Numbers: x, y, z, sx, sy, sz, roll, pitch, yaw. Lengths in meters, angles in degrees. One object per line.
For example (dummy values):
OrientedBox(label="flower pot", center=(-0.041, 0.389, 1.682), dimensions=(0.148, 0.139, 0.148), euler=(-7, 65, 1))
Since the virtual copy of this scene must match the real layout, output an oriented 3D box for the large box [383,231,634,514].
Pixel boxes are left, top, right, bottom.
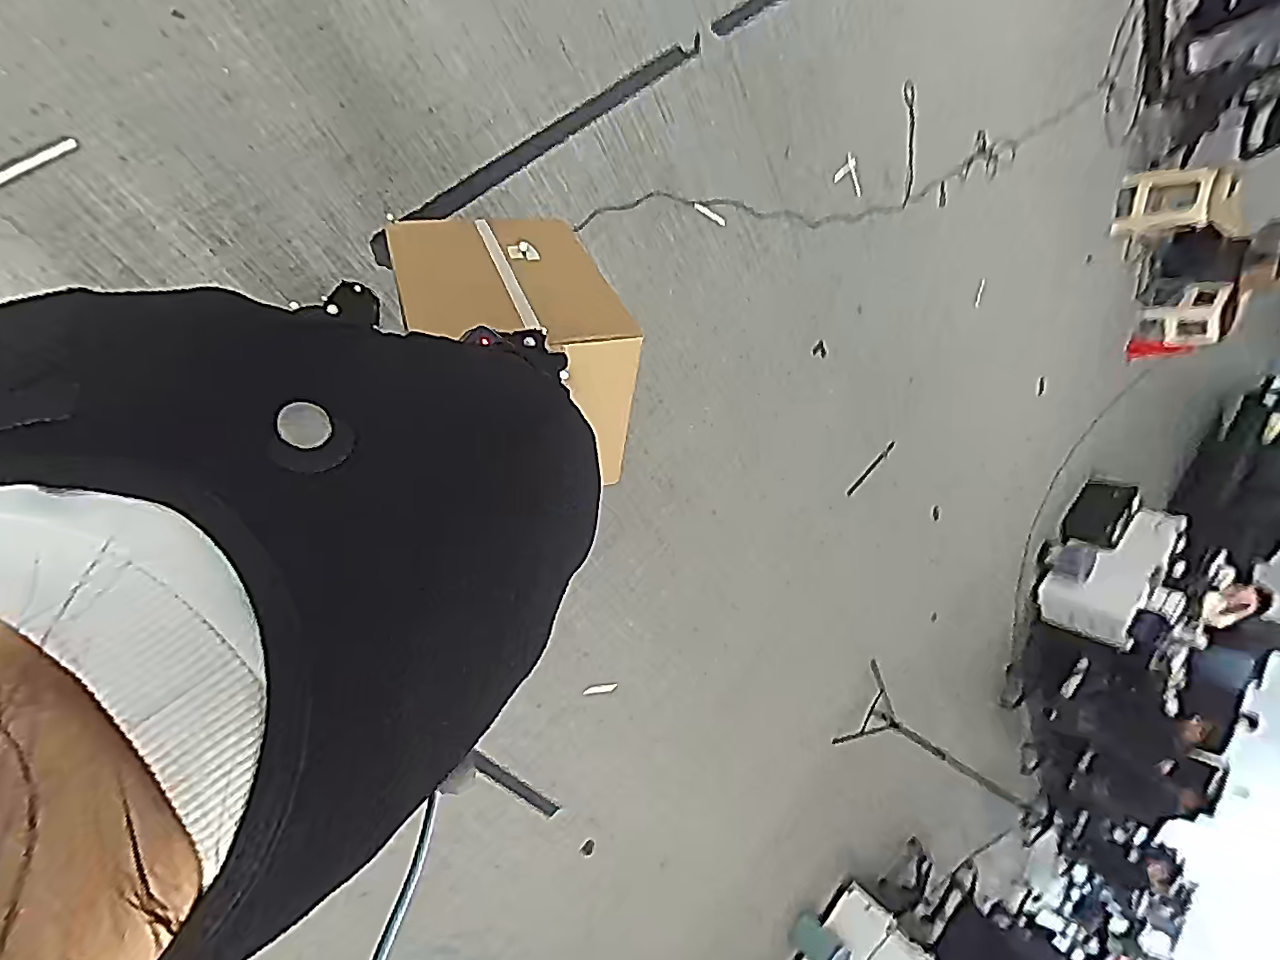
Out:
OrientedBox(label="large box", center=(-0.245, -0.205, 0.968), dimensions=(0.320, 0.408, 0.320), euler=(-10, 139, -24))
